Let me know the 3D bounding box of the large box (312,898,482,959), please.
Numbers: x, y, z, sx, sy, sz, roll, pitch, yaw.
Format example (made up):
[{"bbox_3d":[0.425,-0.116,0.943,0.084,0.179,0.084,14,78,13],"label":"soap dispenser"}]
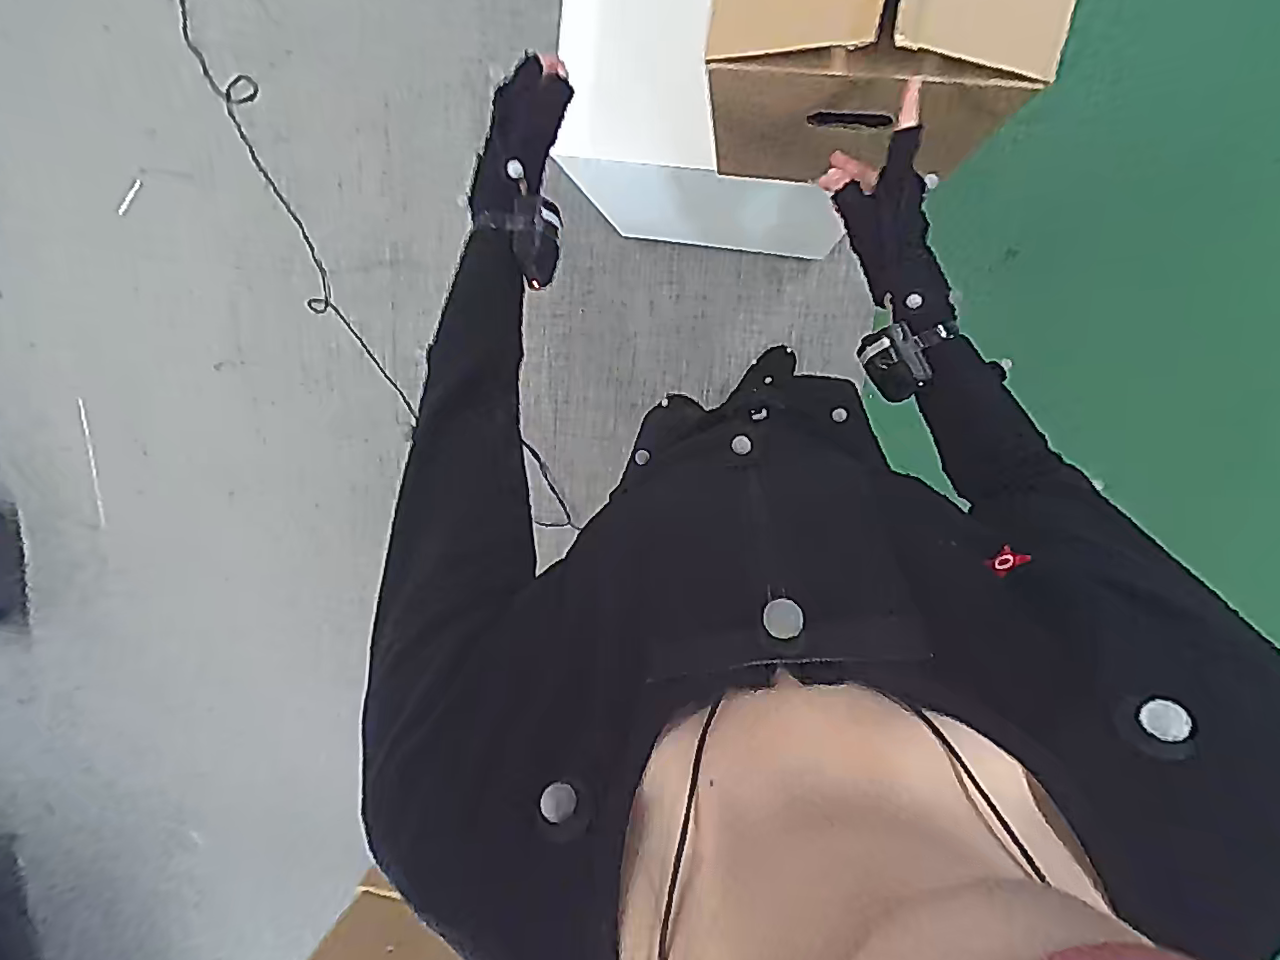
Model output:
[{"bbox_3d":[-0.695,1.452,1.489,0.408,0.320,0.320,7,98,9],"label":"large box"}]
